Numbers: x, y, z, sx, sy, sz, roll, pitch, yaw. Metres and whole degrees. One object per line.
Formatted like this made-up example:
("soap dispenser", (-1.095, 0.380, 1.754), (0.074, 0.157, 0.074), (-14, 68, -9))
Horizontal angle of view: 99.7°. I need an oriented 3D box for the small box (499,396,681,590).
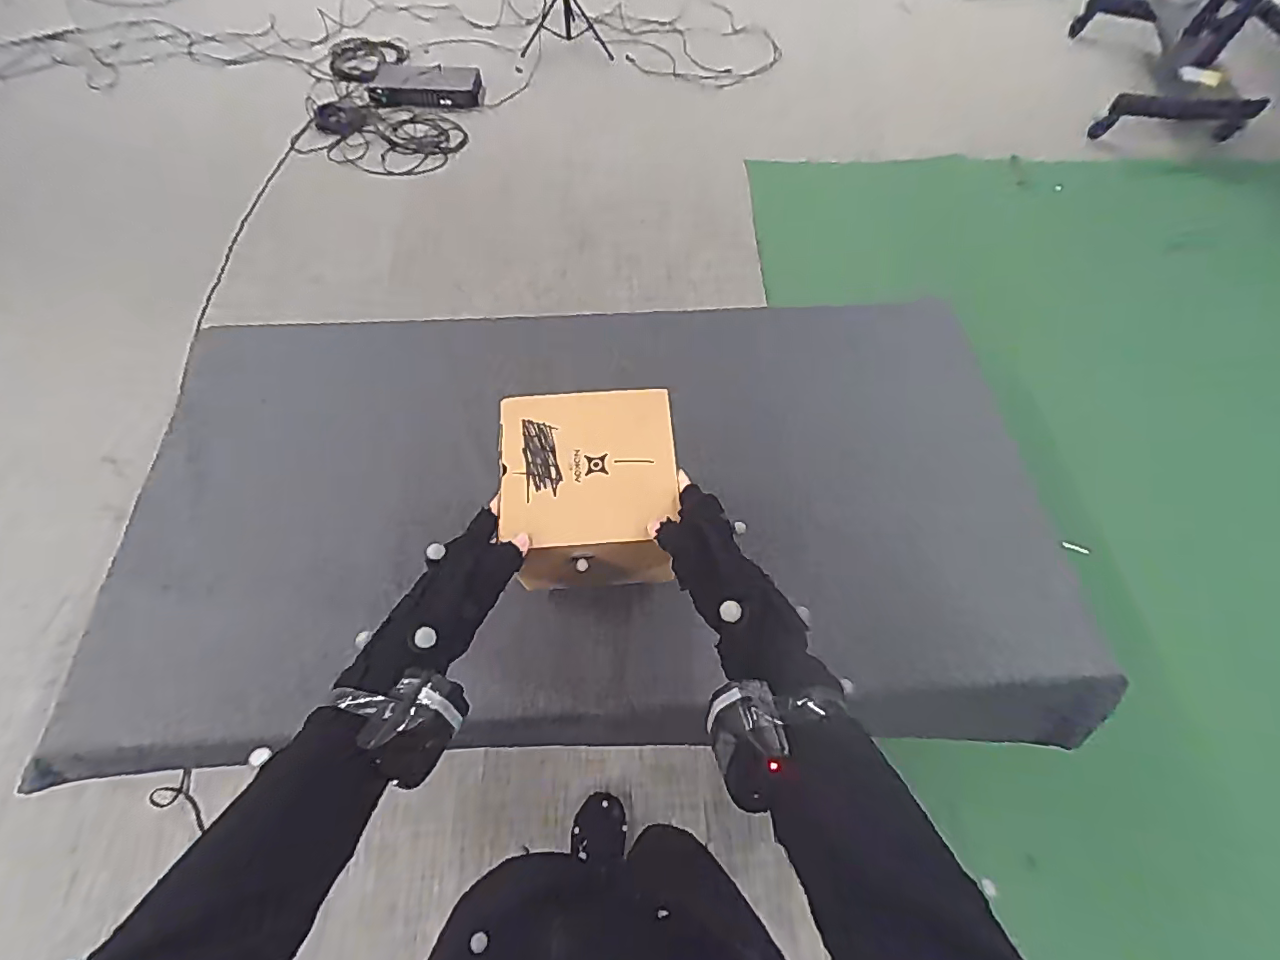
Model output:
("small box", (-0.052, 0.023, 0.615), (0.179, 0.176, 0.168), (-4, 65, -2))
